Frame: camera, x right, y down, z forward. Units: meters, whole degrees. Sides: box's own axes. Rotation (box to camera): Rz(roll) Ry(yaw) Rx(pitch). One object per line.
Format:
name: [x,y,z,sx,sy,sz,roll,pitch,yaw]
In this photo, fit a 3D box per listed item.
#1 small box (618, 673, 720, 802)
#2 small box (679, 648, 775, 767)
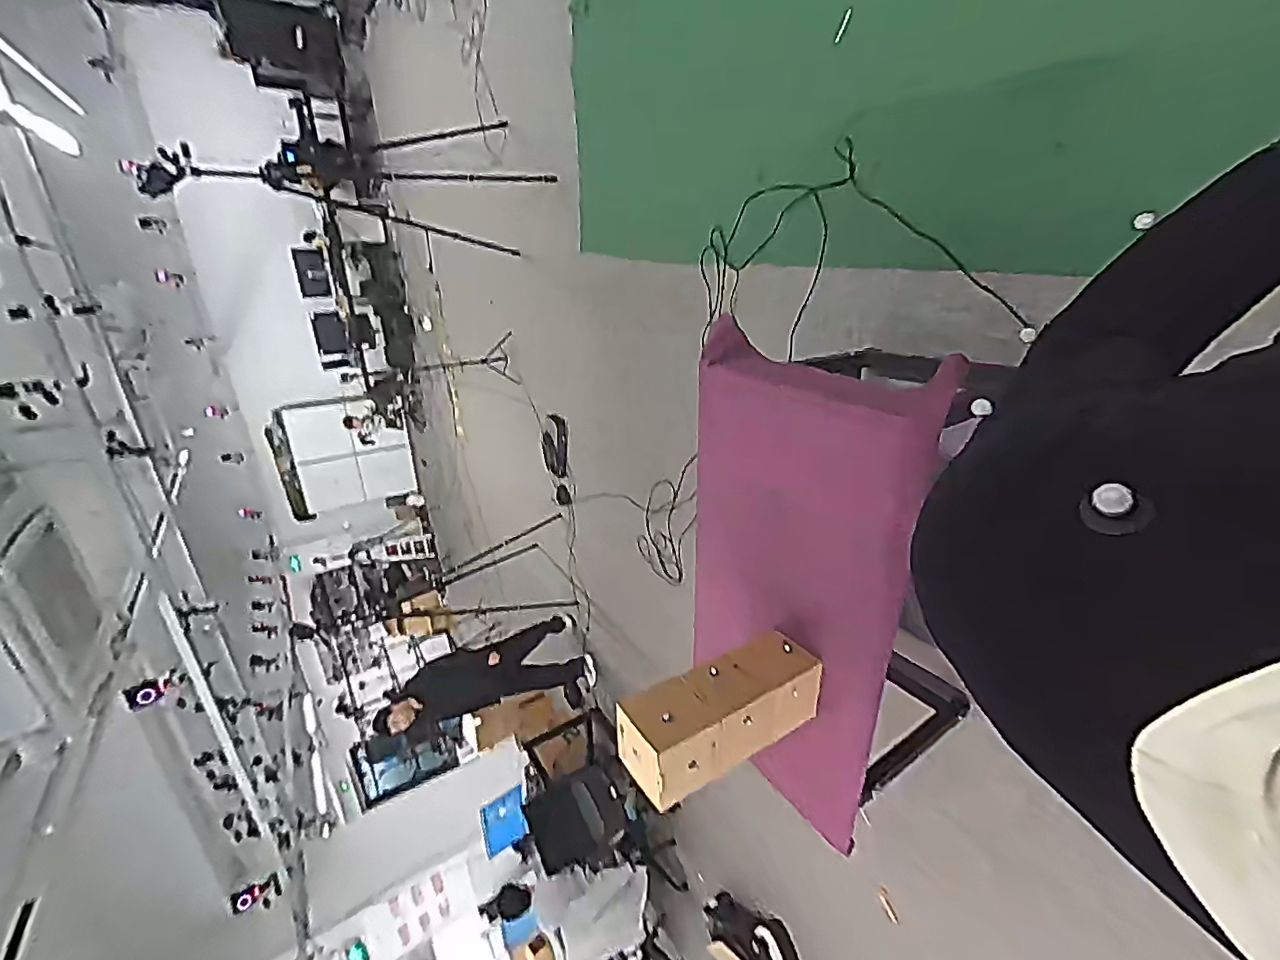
small box: [0.067,0.574,1.235,0.179,0.176,0.168,28,126,51]
small box: [0.207,0.540,1.311,0.168,0.176,0.179,30,128,51]
